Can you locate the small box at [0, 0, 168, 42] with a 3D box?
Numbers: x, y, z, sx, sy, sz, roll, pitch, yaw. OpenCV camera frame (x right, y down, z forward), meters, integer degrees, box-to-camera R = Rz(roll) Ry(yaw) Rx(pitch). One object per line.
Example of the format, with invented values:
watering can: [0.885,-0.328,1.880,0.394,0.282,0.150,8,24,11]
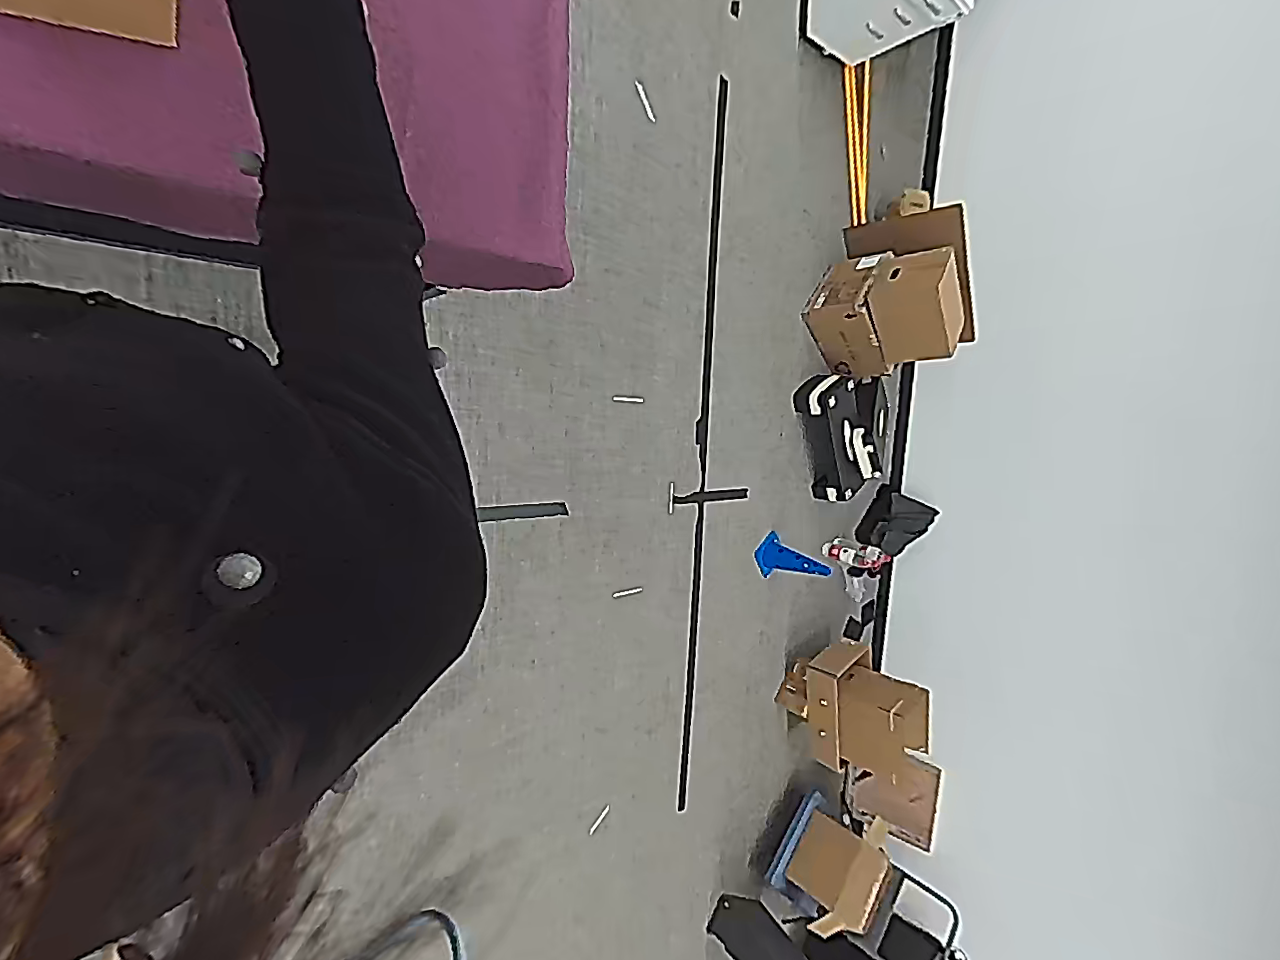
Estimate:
small box: [-0.588,-0.570,0.521,0.179,0.176,0.168,-18,109,-39]
